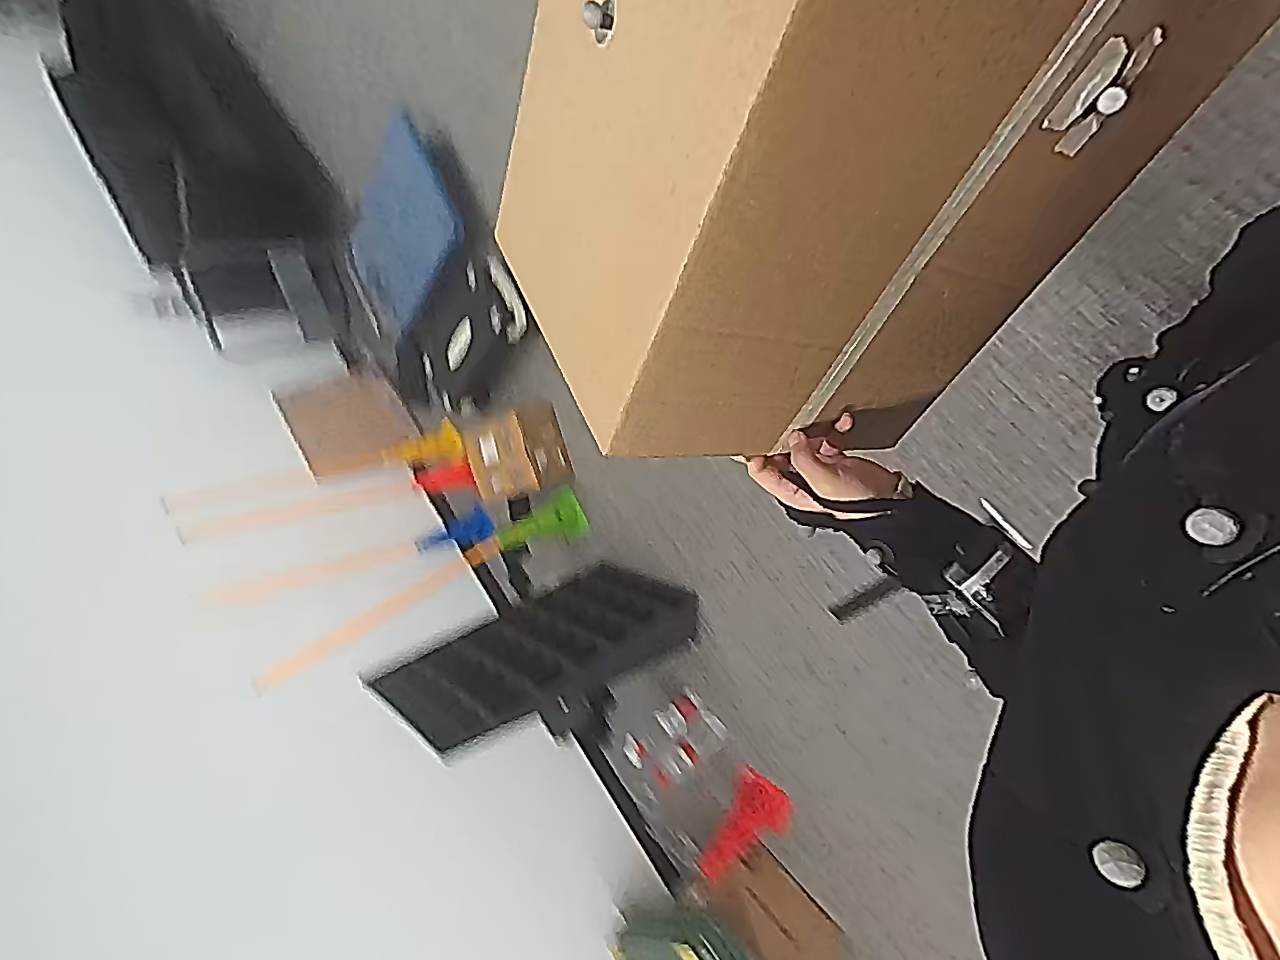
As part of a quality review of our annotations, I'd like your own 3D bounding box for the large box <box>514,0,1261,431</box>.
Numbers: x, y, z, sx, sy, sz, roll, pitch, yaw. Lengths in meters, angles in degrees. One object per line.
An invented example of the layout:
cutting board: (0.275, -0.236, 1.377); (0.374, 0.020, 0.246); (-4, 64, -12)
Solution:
large box: (0.121, -0.285, 0.400); (0.320, 0.320, 0.408); (62, 141, 33)
